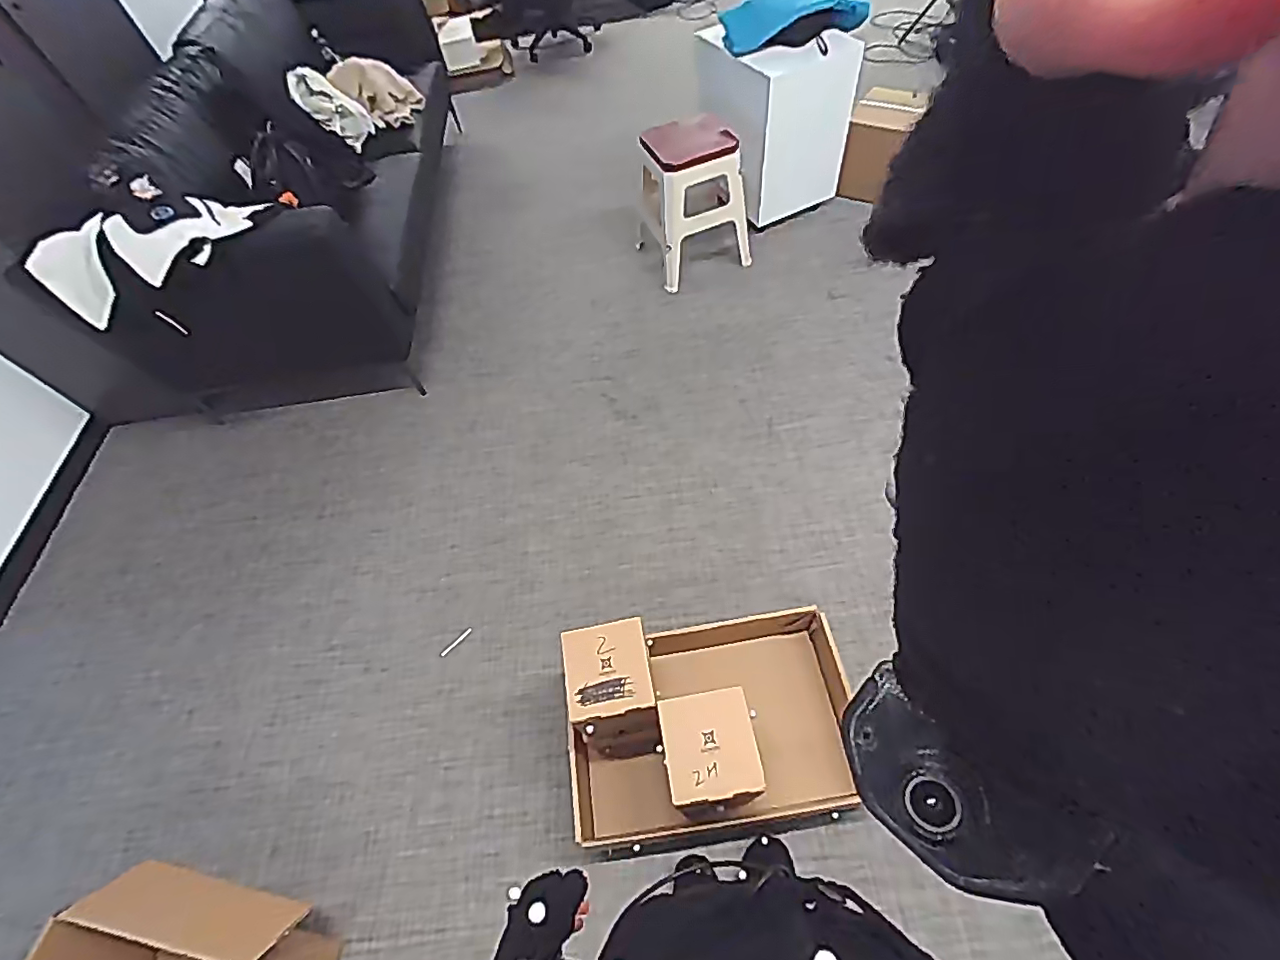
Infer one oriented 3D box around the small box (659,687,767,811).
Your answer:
[{"bbox_3d":[0.131,0.513,1.024,0.168,0.176,0.179,-10,57,0],"label":"small box"}]
